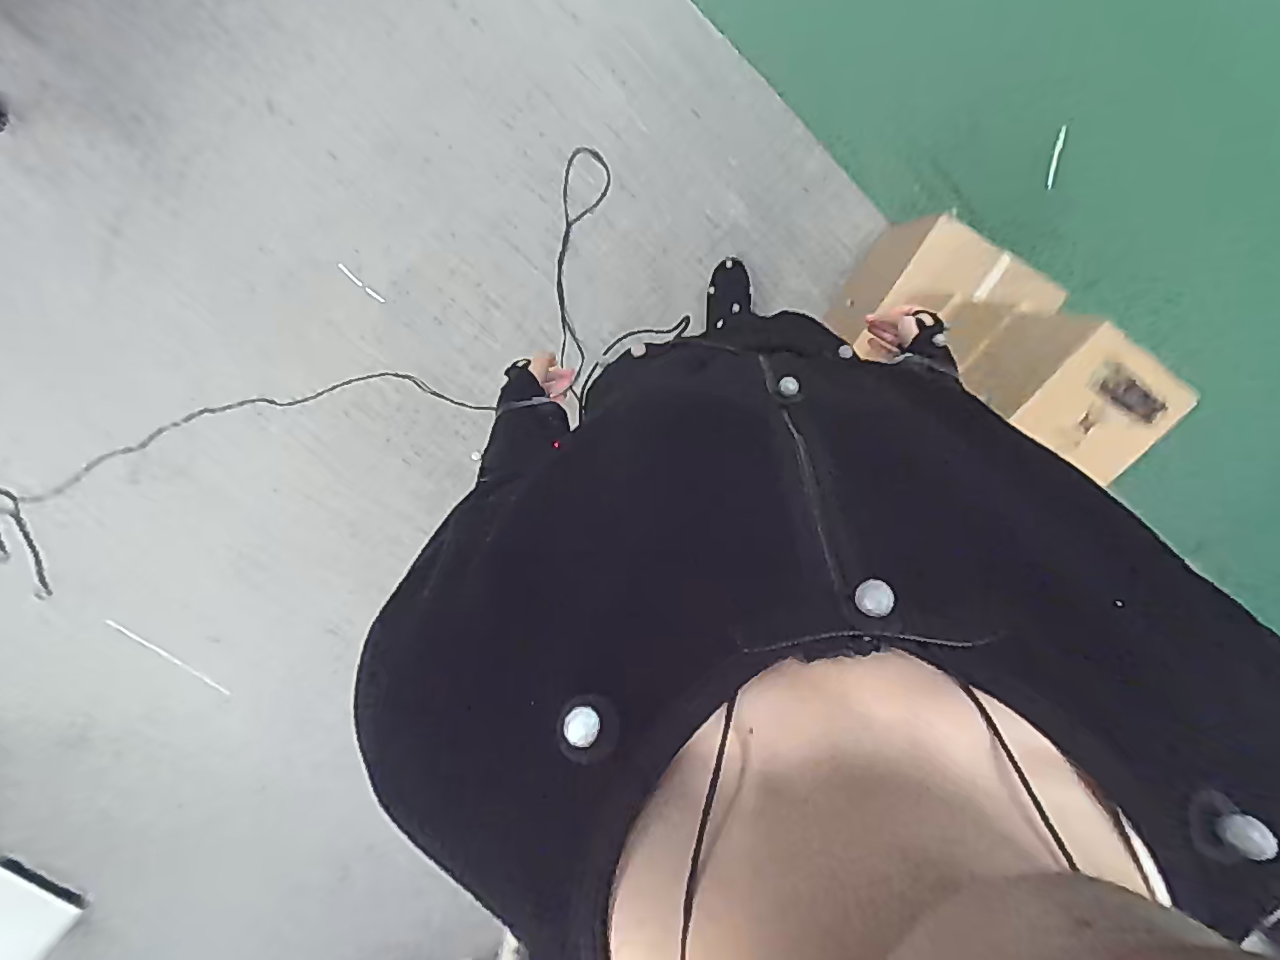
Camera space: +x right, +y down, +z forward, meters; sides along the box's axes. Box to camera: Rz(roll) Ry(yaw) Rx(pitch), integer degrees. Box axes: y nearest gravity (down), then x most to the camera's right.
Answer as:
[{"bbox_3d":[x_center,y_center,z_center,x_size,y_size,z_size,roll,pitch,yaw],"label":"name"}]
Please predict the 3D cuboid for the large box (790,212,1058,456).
[{"bbox_3d":[0.613,-0.330,1.254,0.320,0.320,0.408,28,108,-9],"label":"large box"}]

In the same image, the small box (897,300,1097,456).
[{"bbox_3d":[0.561,-0.175,0.879,0.168,0.176,0.179,35,109,-10],"label":"small box"}]

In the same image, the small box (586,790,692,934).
[{"bbox_3d":[0.001,0.745,1.071,0.168,0.176,0.179,-13,110,8],"label":"small box"}]

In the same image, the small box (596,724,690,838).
[{"bbox_3d":[0.011,0.682,1.221,0.179,0.176,0.168,-12,110,6],"label":"small box"}]

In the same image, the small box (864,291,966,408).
[{"bbox_3d":[0.564,-0.238,1.028,0.179,0.176,0.168,34,109,-9],"label":"small box"}]
